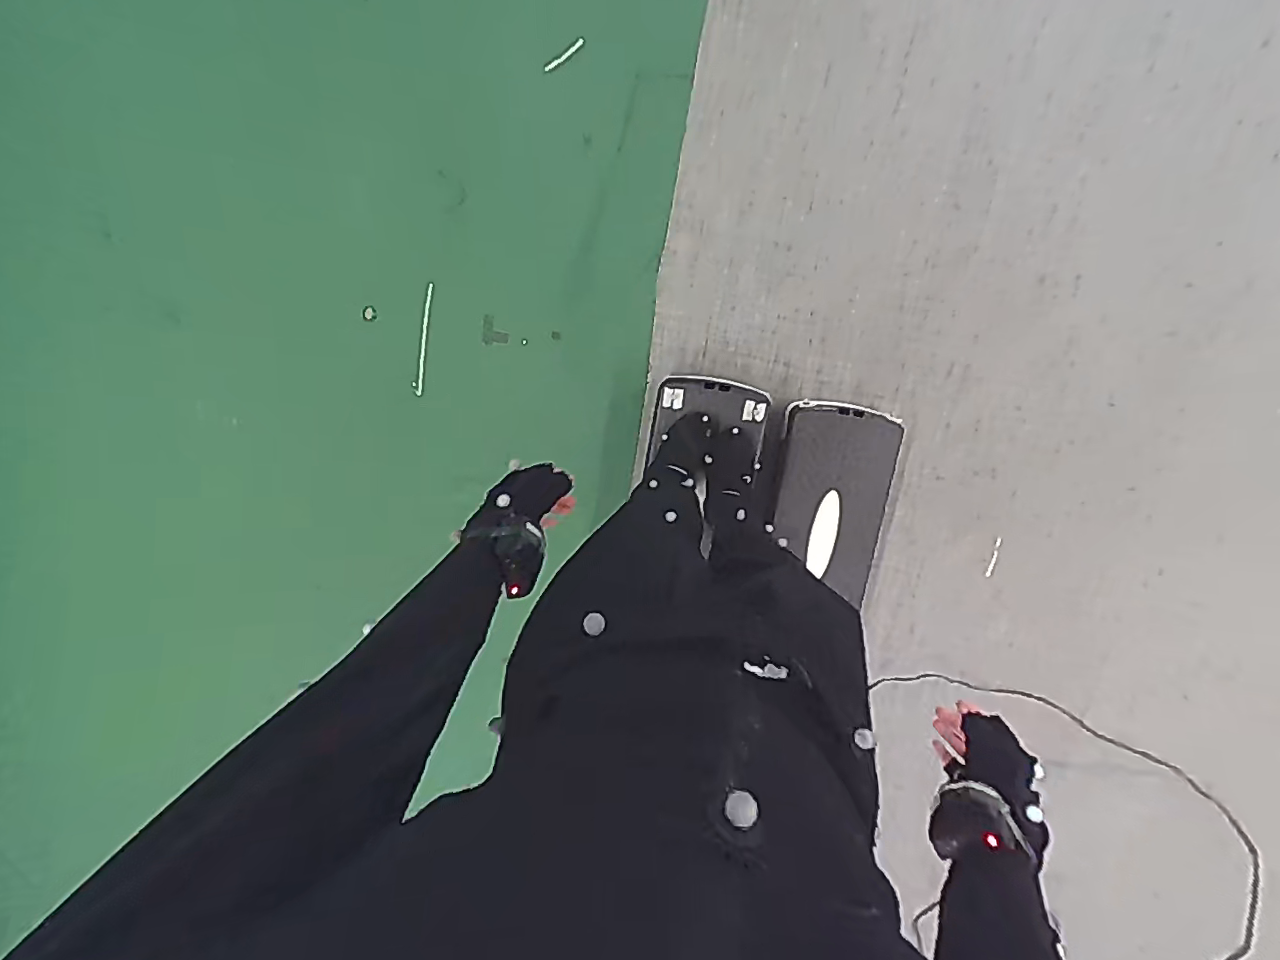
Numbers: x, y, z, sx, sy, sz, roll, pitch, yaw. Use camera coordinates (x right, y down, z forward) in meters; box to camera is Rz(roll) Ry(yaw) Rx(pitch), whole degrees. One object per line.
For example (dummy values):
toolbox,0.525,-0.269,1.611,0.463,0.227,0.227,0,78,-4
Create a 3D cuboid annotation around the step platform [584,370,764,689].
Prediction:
step platform,0.071,0.103,1.222,0.286,0.204,0.684,11,101,5
